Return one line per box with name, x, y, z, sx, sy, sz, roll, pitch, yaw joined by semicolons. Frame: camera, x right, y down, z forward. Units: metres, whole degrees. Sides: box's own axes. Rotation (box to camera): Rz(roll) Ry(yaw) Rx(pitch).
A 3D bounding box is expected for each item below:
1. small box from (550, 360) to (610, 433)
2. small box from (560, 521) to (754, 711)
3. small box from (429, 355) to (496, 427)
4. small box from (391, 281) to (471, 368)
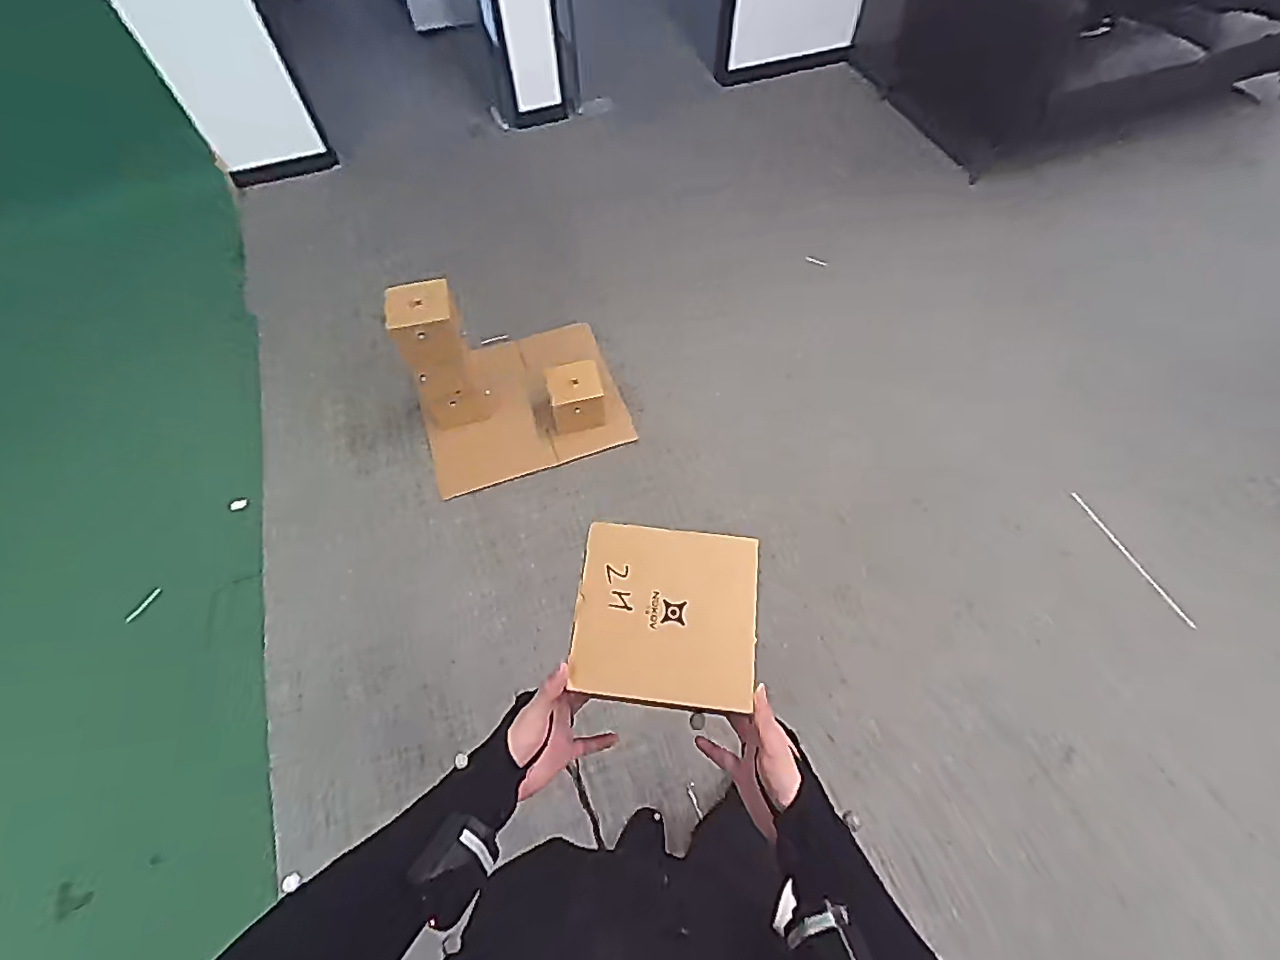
small box;-0.204;-0.285;1.875;0.179;0.176;0.168;-14;61;-5
small box;0.023;0.157;0.598;0.179;0.176;0.168;5;66;4
small box;-0.618;-0.307;1.893;0.179;0.176;0.168;-14;62;-7
small box;-0.615;-0.454;1.600;0.179;0.176;0.168;-12;62;-6
